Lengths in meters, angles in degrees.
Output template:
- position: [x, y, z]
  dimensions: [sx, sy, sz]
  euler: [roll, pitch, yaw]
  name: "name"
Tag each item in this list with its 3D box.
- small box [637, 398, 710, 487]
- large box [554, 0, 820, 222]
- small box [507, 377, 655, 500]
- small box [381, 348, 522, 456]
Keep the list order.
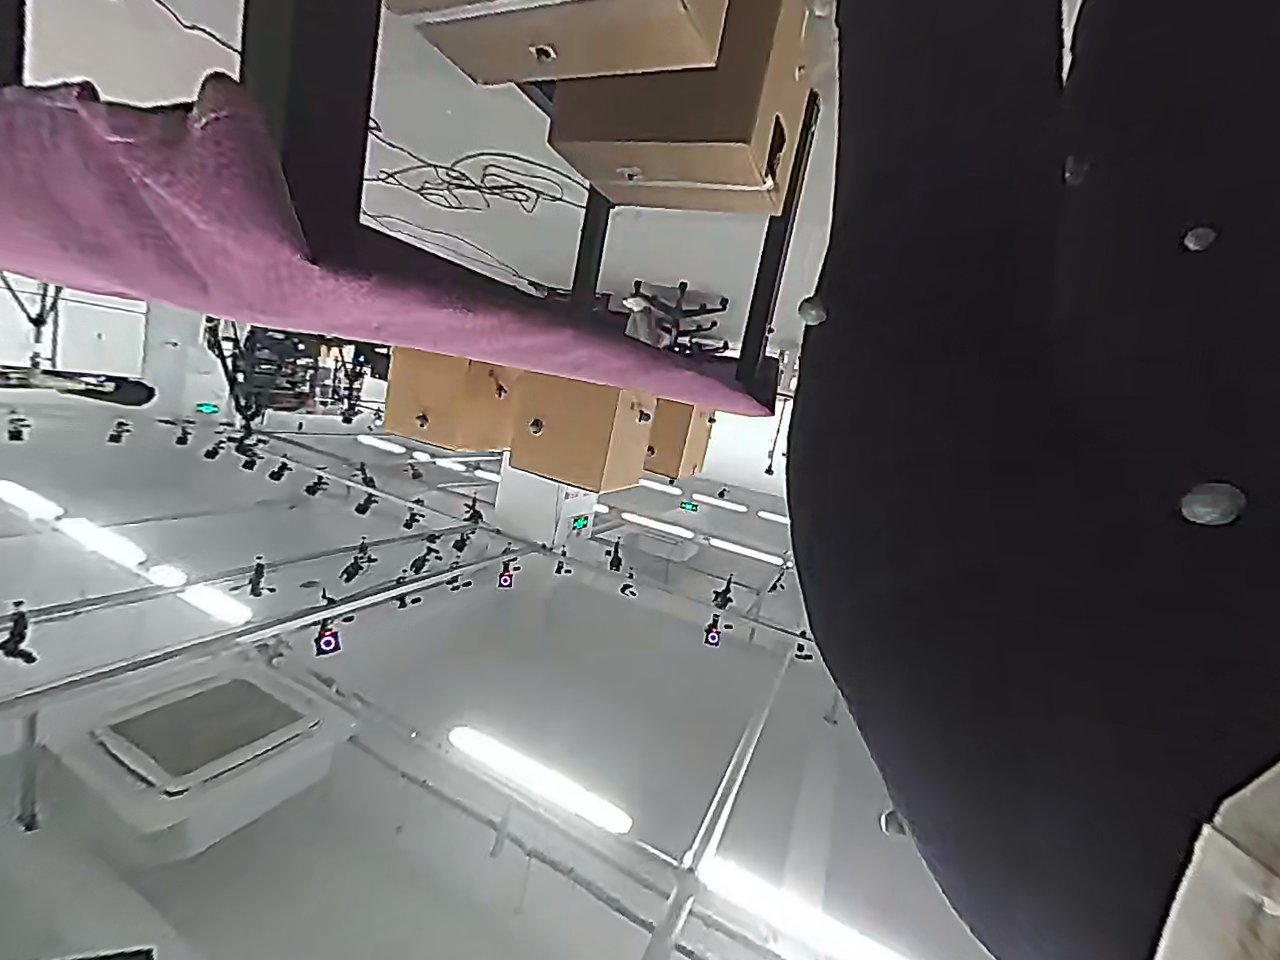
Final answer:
- position: [0.052, -0.092, 1.252]
  dimensions: [0.179, 0.176, 0.168]
  euler: [18, -171, 23]
  name: "small box"
- position: [0.101, -0.740, 1.073]
  dimensions: [0.408, 0.320, 0.320]
  euler: [17, -171, 22]
  name: "large box"
- position: [-0.095, -0.076, 0.920]
  dimensions: [0.179, 0.176, 0.168]
  euler: [16, -170, 21]
  name: "small box"
- position: [-0.345, -0.145, 1.011]
  dimensions: [0.179, 0.176, 0.168]
  euler: [14, -172, 21]
  name: "small box"
